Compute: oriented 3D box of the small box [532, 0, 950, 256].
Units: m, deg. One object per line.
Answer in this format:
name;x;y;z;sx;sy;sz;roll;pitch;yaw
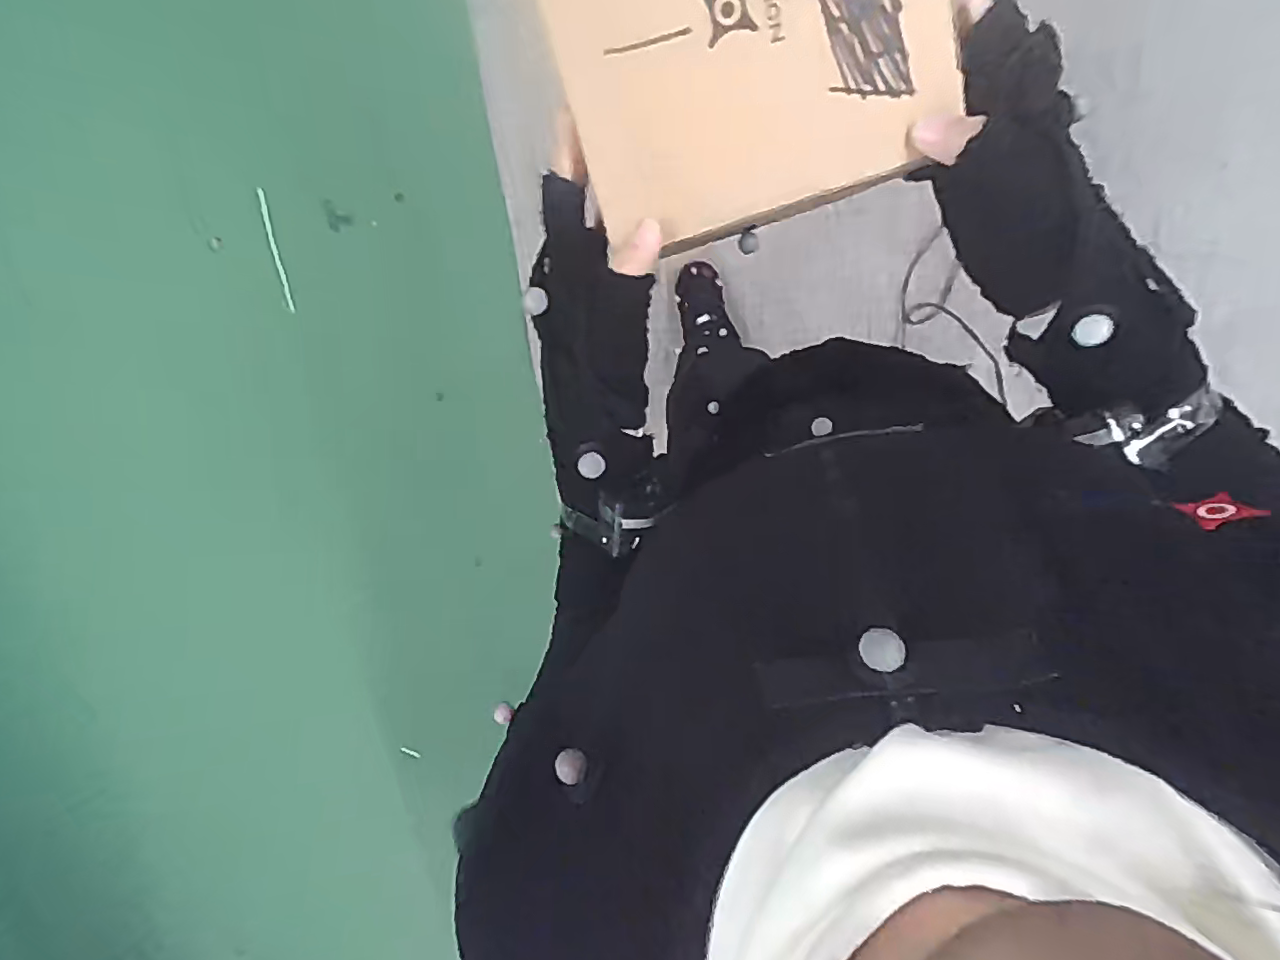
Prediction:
small box;0.043;-0.240;0.312;0.179;0.176;0.168;-15;109;7
